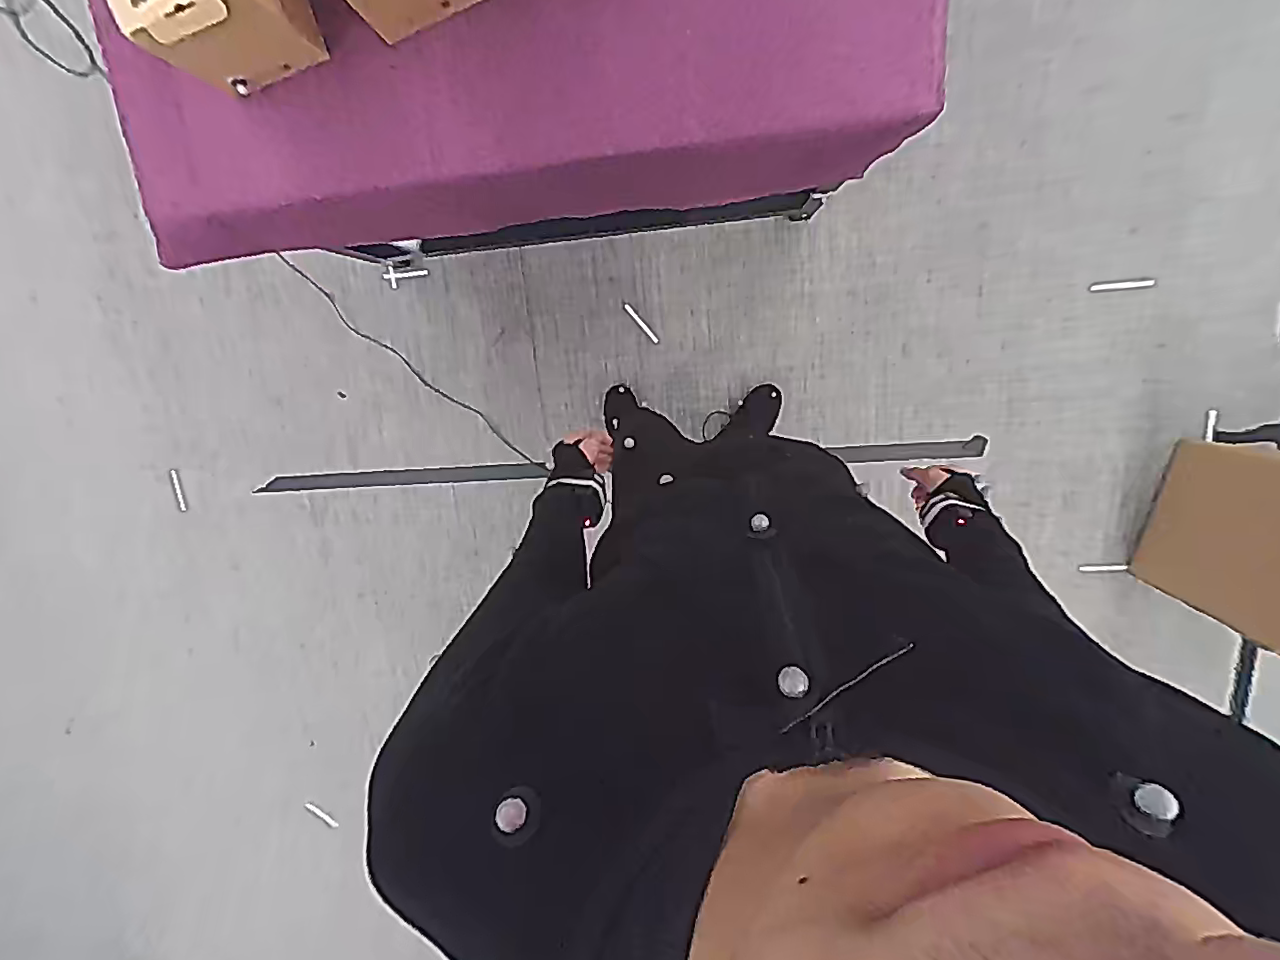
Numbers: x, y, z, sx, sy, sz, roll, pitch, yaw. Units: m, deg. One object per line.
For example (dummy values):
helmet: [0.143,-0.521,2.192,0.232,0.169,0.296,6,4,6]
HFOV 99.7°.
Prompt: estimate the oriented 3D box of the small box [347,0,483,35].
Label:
small box: [-0.317,-0.710,0.677,0.168,0.176,0.179,-17,101,8]

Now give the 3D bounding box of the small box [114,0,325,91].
small box: [-0.560,-0.653,0.710,0.168,0.176,0.179,-16,101,8]
